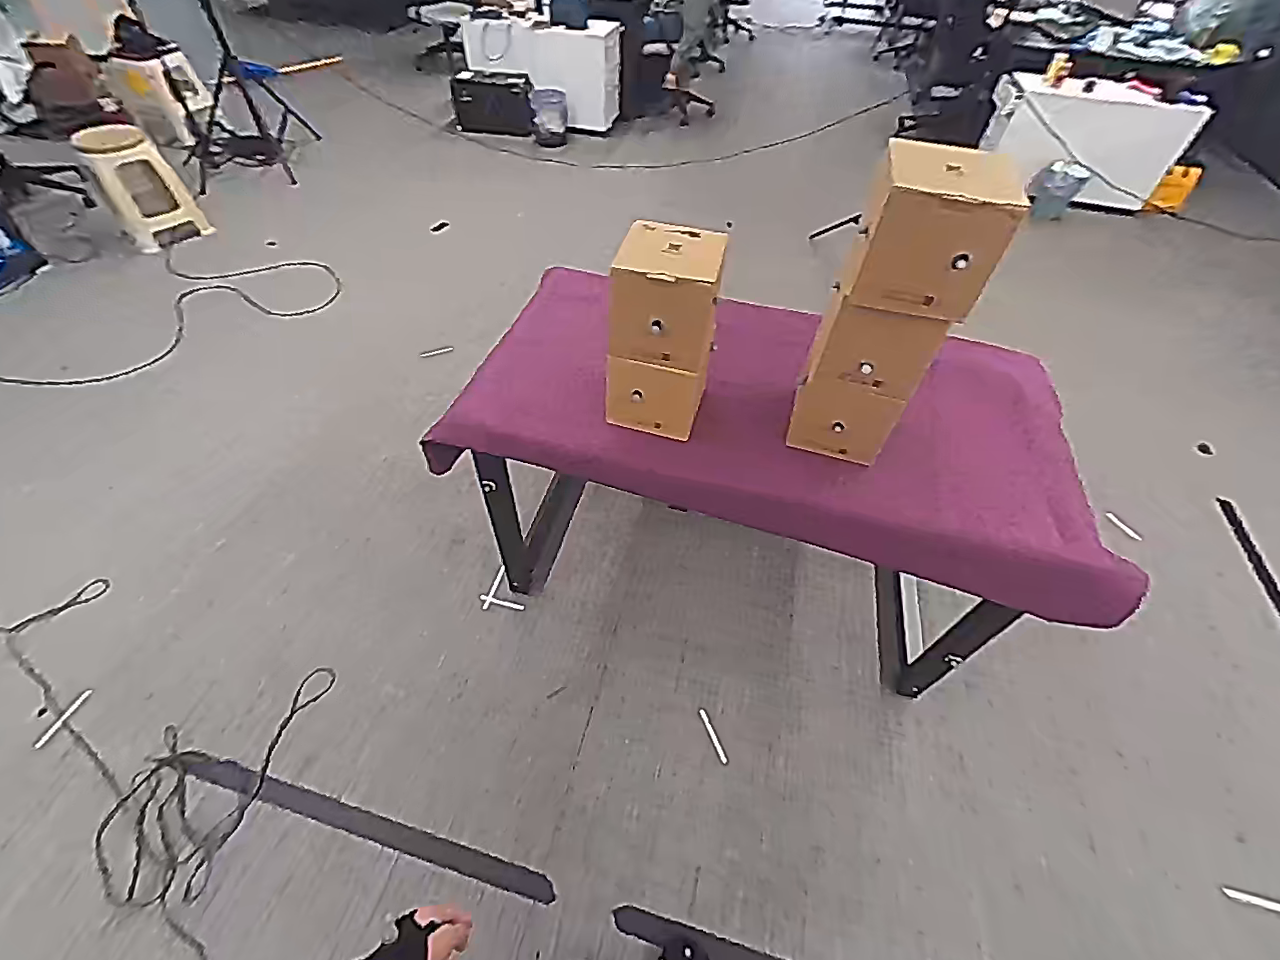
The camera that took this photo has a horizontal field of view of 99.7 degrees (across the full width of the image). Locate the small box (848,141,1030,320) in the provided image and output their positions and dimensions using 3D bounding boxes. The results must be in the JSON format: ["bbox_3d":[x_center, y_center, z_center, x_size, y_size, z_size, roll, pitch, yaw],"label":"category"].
[{"bbox_3d":[0.410,-0.353,0.774,0.168,0.176,0.179,13,50,7],"label":"small box"}]

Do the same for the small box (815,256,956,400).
[{"bbox_3d":[0.406,-0.266,0.912,0.168,0.176,0.179,15,51,9],"label":"small box"}]

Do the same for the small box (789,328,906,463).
[{"bbox_3d":[0.394,-0.159,1.037,0.168,0.176,0.179,16,51,9],"label":"small box"}]

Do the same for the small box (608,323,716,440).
[{"bbox_3d":[0.042,-0.204,1.053,0.168,0.176,0.179,14,50,8],"label":"small box"}]

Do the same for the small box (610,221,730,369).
[{"bbox_3d":[0.050,-0.315,0.933,0.168,0.176,0.179,12,50,6],"label":"small box"}]
